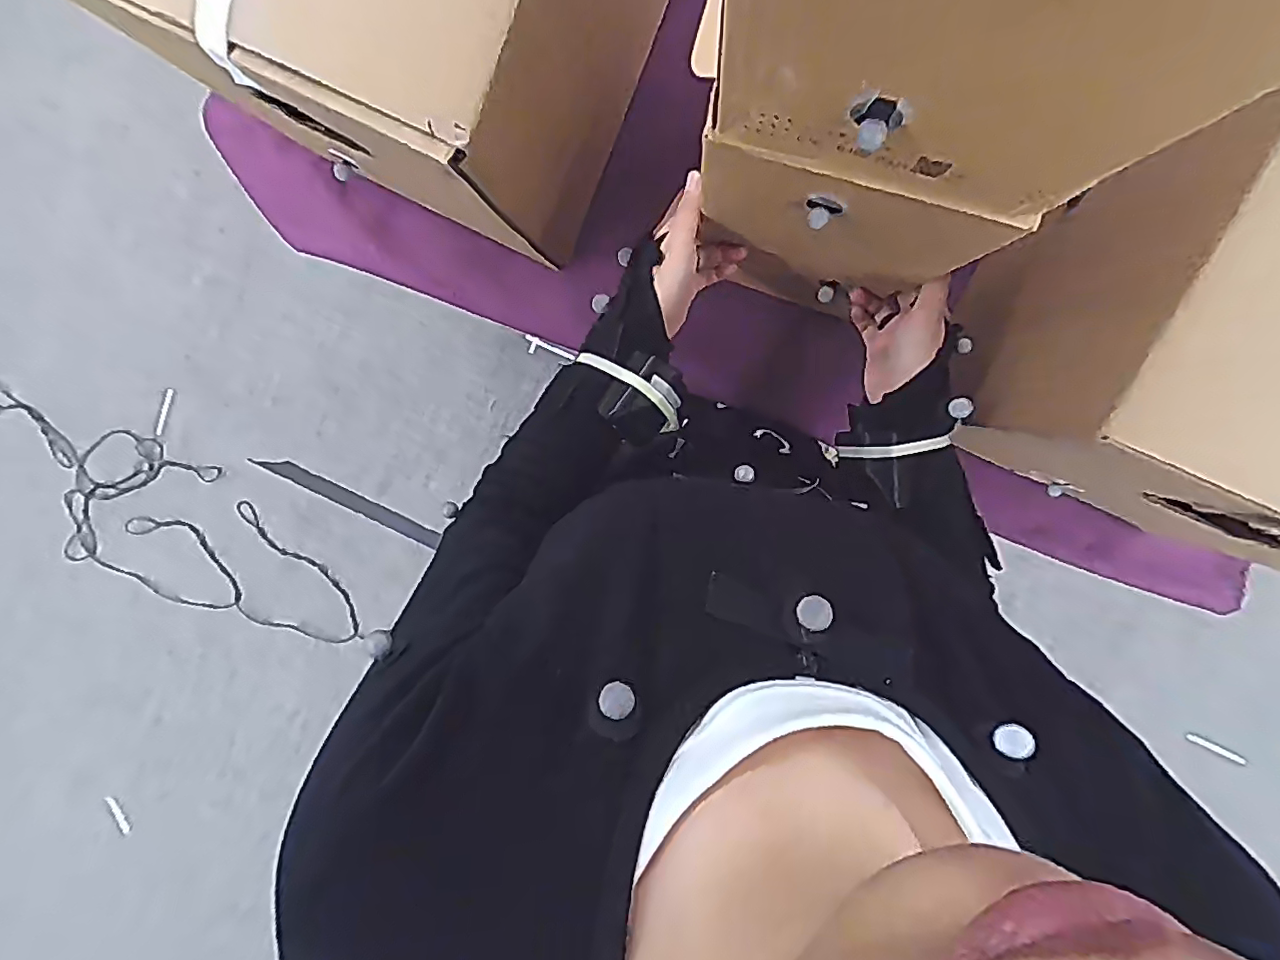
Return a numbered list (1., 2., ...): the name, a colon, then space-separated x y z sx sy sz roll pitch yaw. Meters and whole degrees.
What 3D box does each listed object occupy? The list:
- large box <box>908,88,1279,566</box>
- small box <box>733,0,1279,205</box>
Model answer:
1. large box: 0.488 -0.160 0.413 0.320 0.320 0.408 24 99 0
2. small box: 0.132 -0.220 0.169 0.168 0.176 0.179 16 101 3
